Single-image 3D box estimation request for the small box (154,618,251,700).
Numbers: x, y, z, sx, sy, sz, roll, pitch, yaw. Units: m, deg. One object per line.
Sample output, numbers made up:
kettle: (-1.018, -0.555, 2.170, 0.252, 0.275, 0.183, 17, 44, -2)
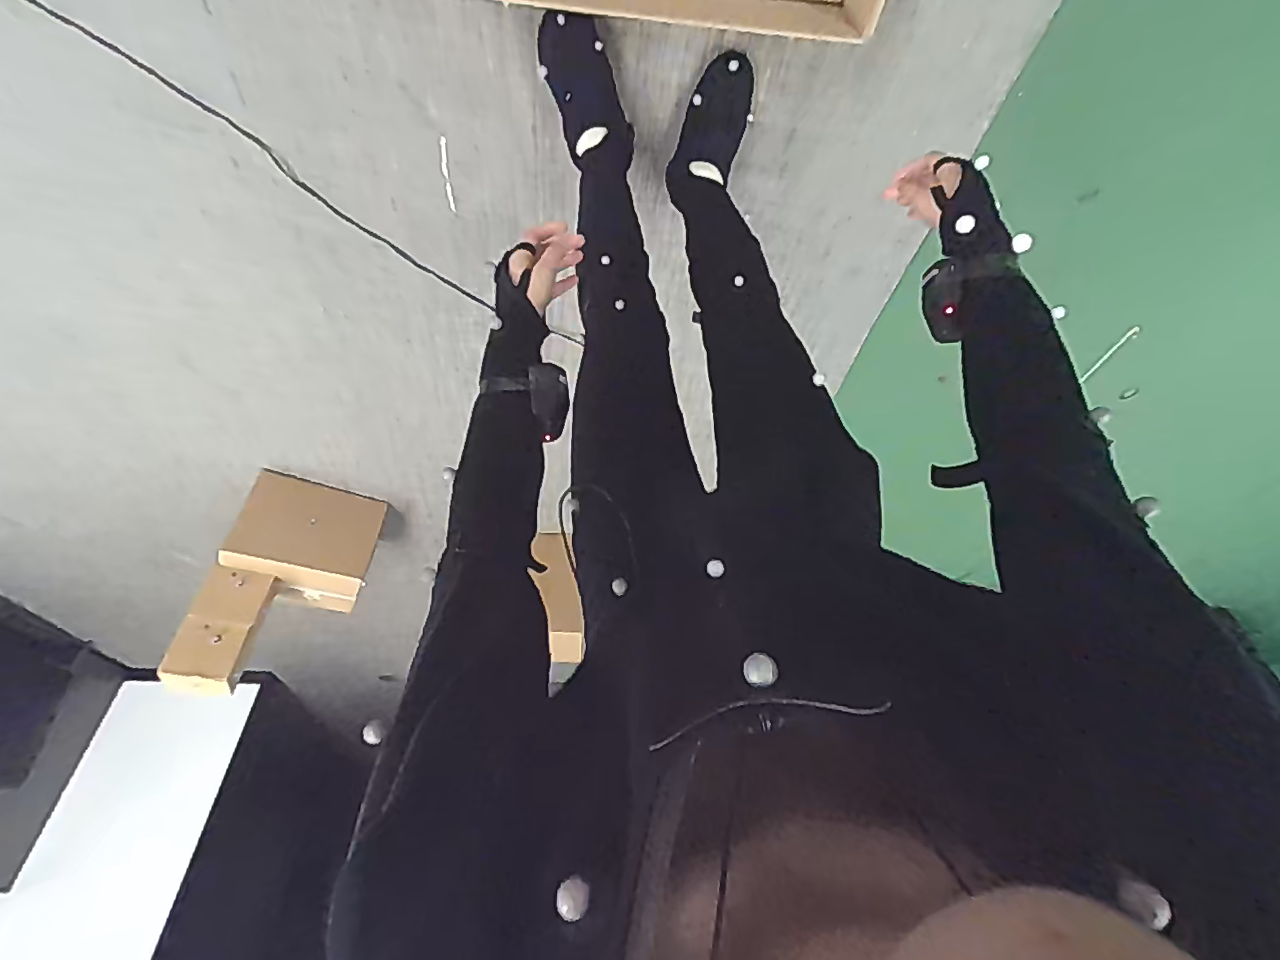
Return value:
small box: (-1.266, 0.525, 1.580, 0.168, 0.176, 0.179, 17, 139, -21)
